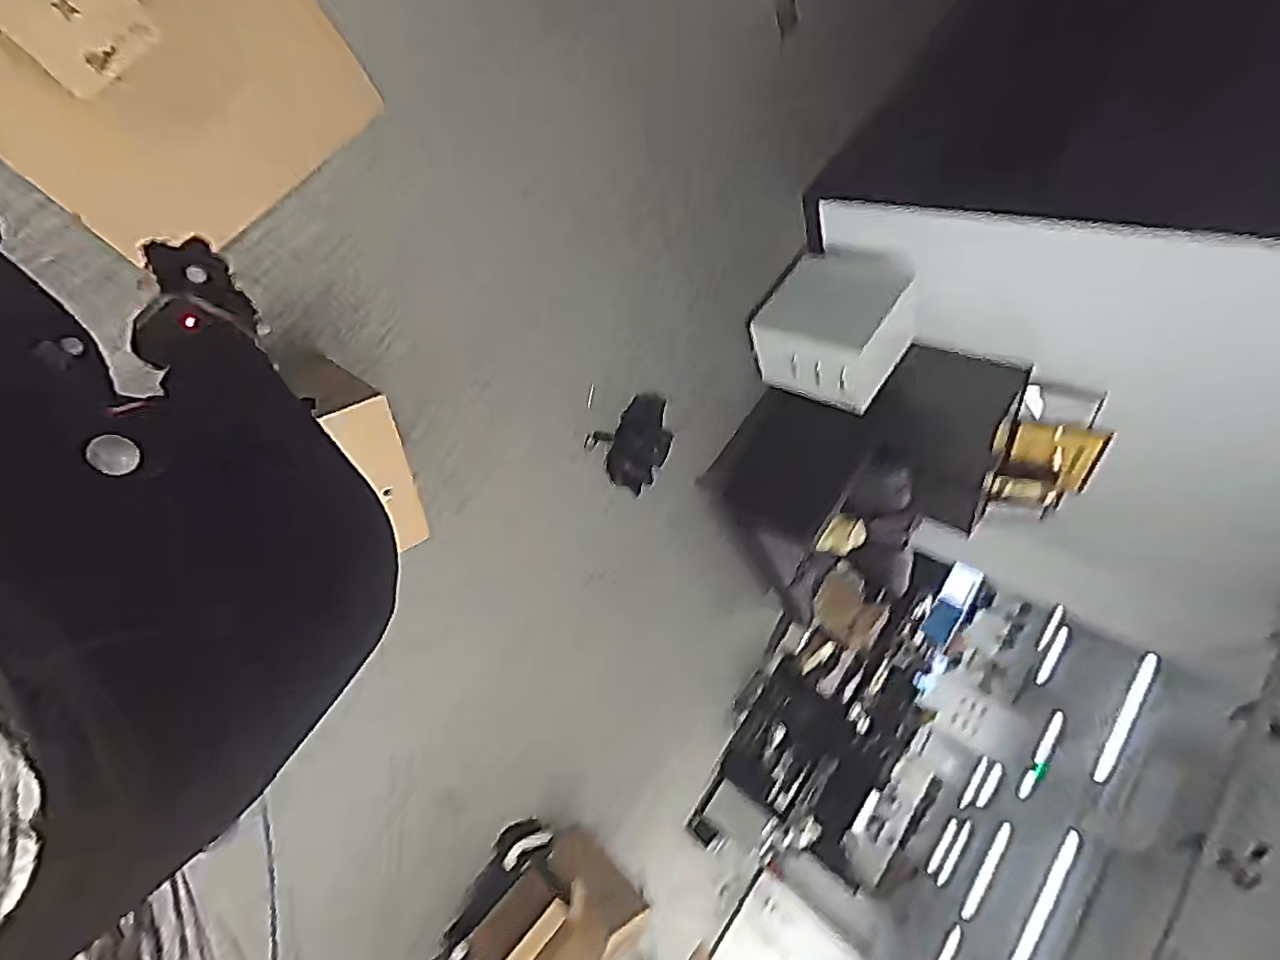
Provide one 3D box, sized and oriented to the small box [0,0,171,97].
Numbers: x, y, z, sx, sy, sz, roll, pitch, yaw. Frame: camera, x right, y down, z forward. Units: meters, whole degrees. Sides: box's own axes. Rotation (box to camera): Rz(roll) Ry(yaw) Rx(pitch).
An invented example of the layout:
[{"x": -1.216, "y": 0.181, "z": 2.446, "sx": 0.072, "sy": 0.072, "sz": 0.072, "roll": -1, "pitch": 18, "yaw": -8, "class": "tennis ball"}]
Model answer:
[{"x": -0.852, "y": -0.700, "z": 0.788, "sx": 0.168, "sy": 0.176, "sz": 0.179, "roll": -56, "pitch": 143, "yaw": -12, "class": "small box"}]
